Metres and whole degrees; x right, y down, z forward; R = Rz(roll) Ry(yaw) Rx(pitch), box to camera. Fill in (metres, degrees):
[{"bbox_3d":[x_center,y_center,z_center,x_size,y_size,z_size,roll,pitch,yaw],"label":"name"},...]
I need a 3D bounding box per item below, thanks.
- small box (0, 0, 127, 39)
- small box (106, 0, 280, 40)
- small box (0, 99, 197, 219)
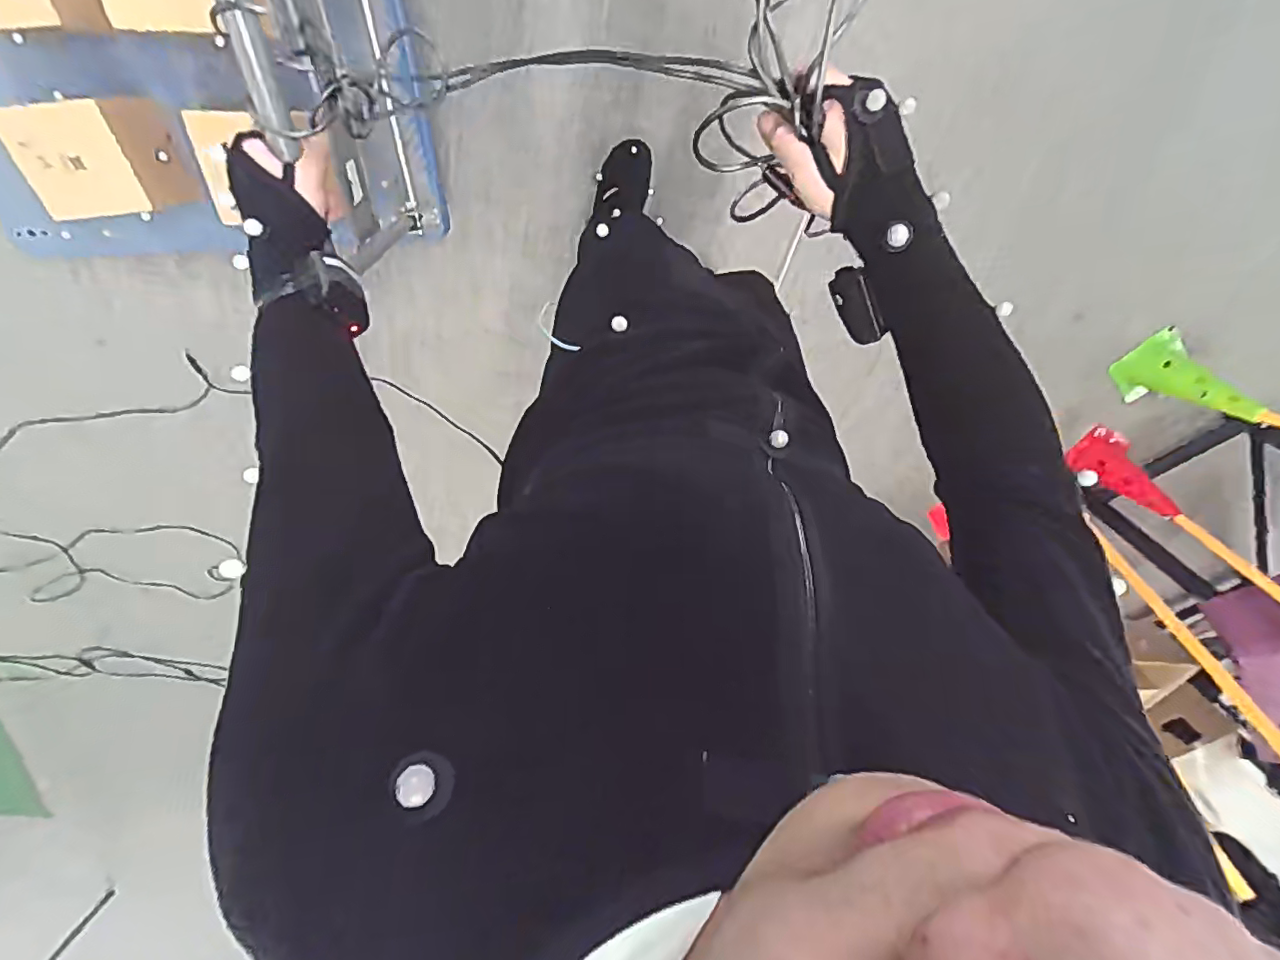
[{"bbox_3d":[-0.963,-0.791,0.829,0.179,0.176,0.168,-6,127,-4],"label":"small box"},{"bbox_3d":[-0.718,-0.806,0.851,0.179,0.176,0.168,-3,126,-5],"label":"small box"},{"bbox_3d":[-0.958,-0.584,0.978,0.179,0.176,0.168,-7,125,-2],"label":"small box"}]
